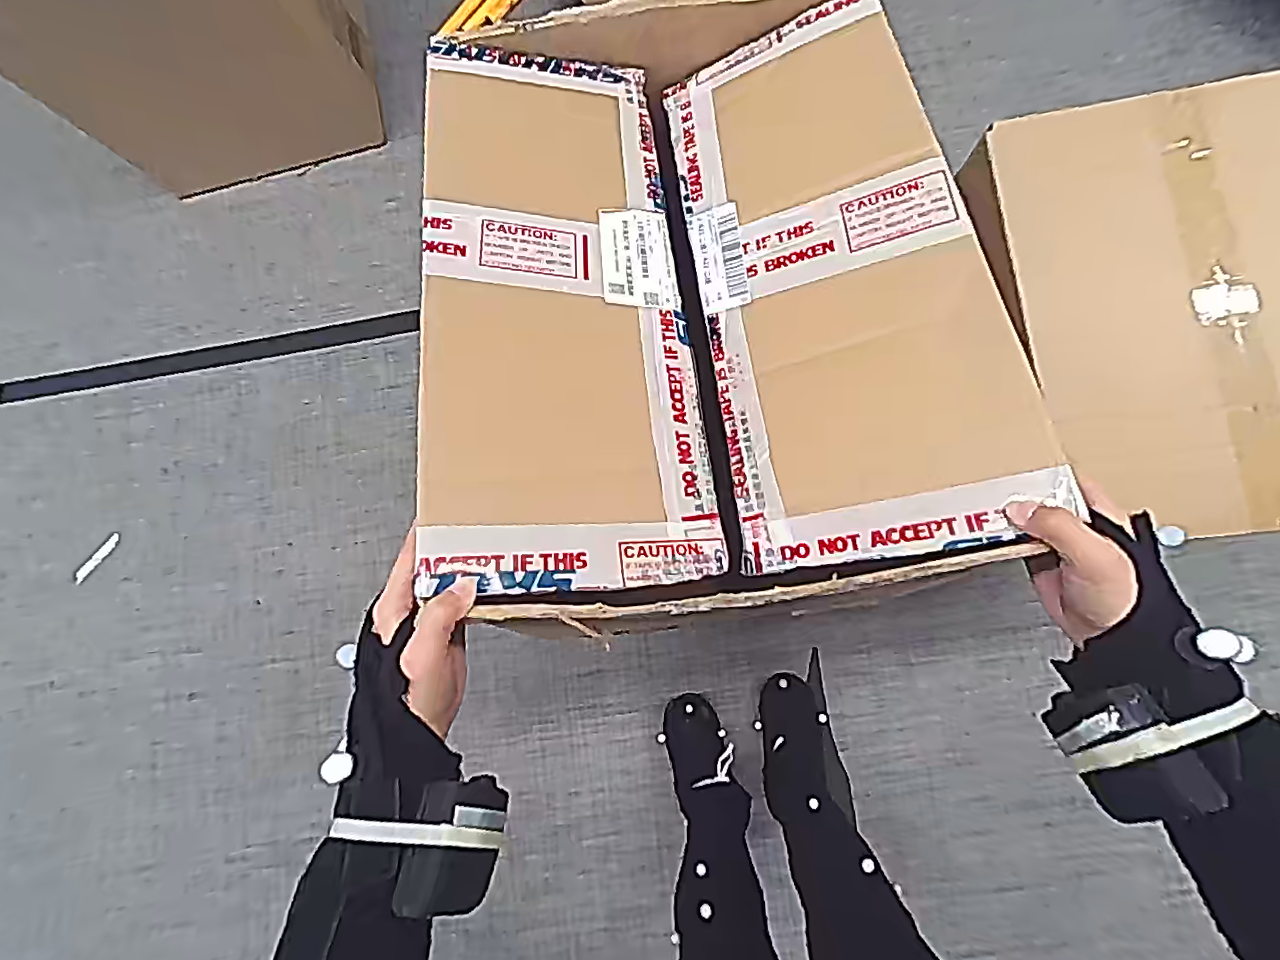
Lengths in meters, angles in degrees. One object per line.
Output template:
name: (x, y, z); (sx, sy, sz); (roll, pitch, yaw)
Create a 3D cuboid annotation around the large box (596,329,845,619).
large box: (0.123, 0.002, 0.958); (0.320, 0.320, 0.408); (-10, 83, 4)
